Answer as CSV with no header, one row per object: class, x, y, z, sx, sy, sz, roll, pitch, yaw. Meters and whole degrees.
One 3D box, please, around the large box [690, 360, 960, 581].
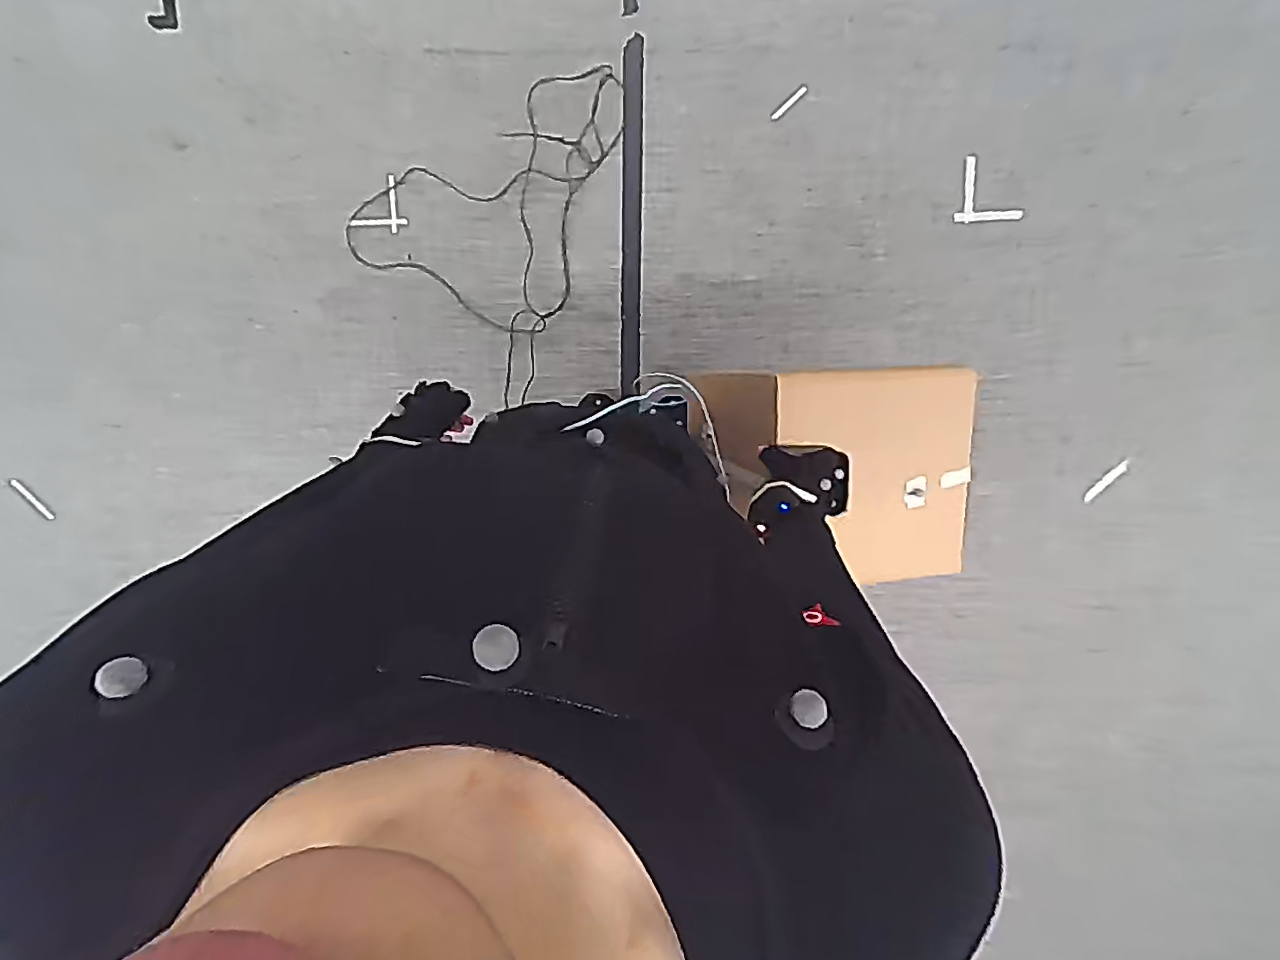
large box,0.296,-0.045,0.975,0.320,0.408,0.320,-4,102,-10
